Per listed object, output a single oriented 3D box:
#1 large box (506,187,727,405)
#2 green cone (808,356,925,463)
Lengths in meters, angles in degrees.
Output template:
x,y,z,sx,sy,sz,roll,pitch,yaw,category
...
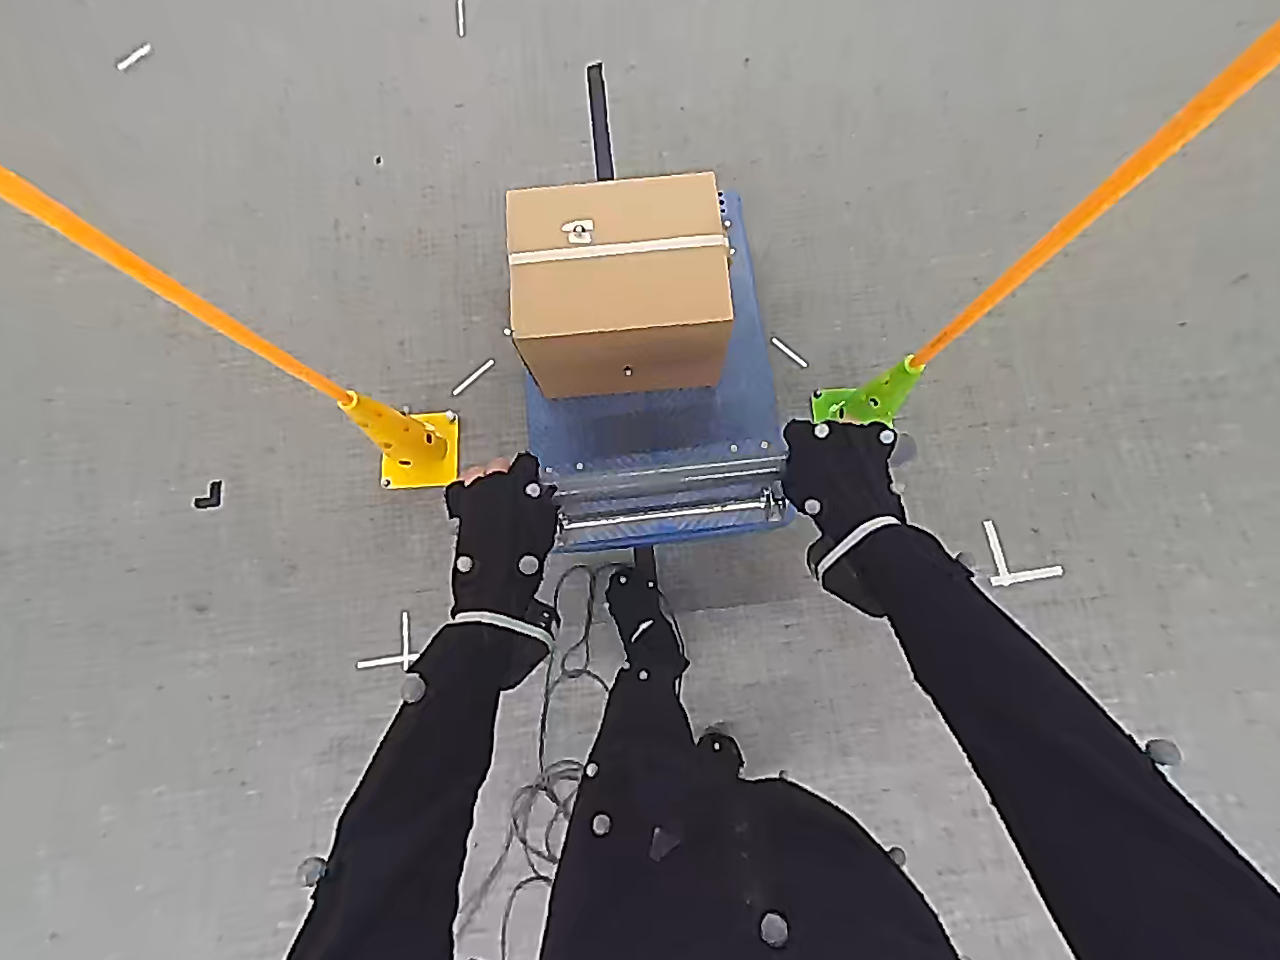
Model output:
x,y,z,sx,sy,sz,roll,pitch,yaw,category
-0.042,-0.370,1.165,0.408,0.320,0.320,-5,78,2,large box
0.543,-0.182,1.243,0.202,0.368,0.200,-3,77,0,green cone
